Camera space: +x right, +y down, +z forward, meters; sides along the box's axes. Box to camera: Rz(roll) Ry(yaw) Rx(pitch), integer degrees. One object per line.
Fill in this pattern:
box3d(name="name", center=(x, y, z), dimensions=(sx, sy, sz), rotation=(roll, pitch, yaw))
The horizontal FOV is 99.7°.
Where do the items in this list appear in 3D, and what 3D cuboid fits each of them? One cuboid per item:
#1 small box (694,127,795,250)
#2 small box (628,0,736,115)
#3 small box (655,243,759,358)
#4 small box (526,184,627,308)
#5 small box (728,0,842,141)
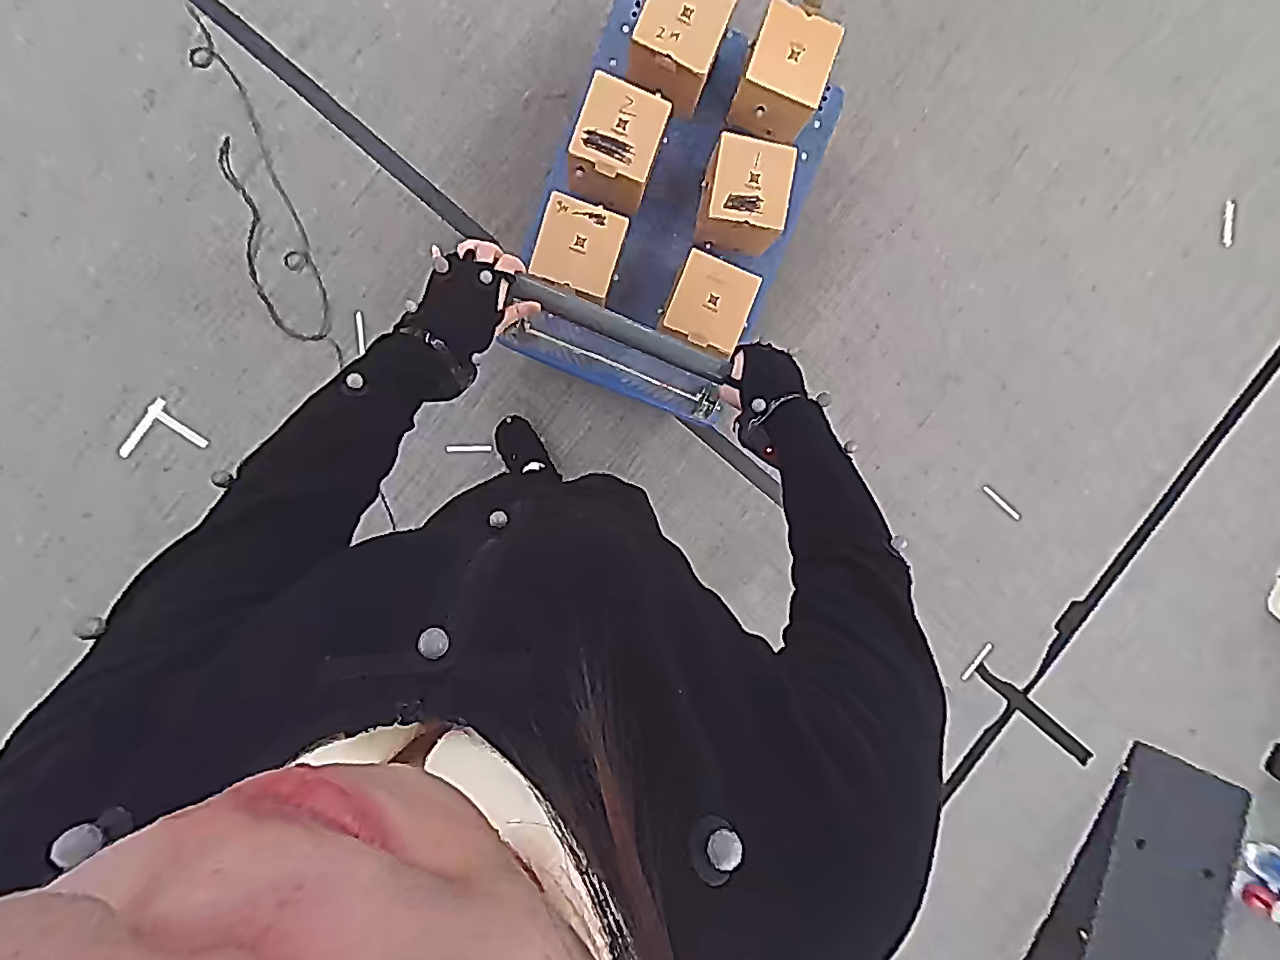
box3d(name="small box", center=(0.224, -0.637, 1.206), dimensions=(0.168, 0.176, 0.179), rotation=(9, 93, -7))
box3d(name="small box", center=(0.080, -0.945, 1.162), dimensions=(0.168, 0.176, 0.179), rotation=(23, 93, -8))
box3d(name="small box", center=(0.141, -0.393, 1.220), dimensions=(0.168, 0.176, 0.179), rotation=(22, 91, -8))
box3d(name="small box", center=(-0.136, -0.496, 1.178), dimensions=(0.168, 0.176, 0.179), rotation=(18, 93, -8))
box3d(name="small box", center=(0.308, -0.896, 1.194), dimensions=(0.168, 0.176, 0.179), rotation=(18, 93, -7))
